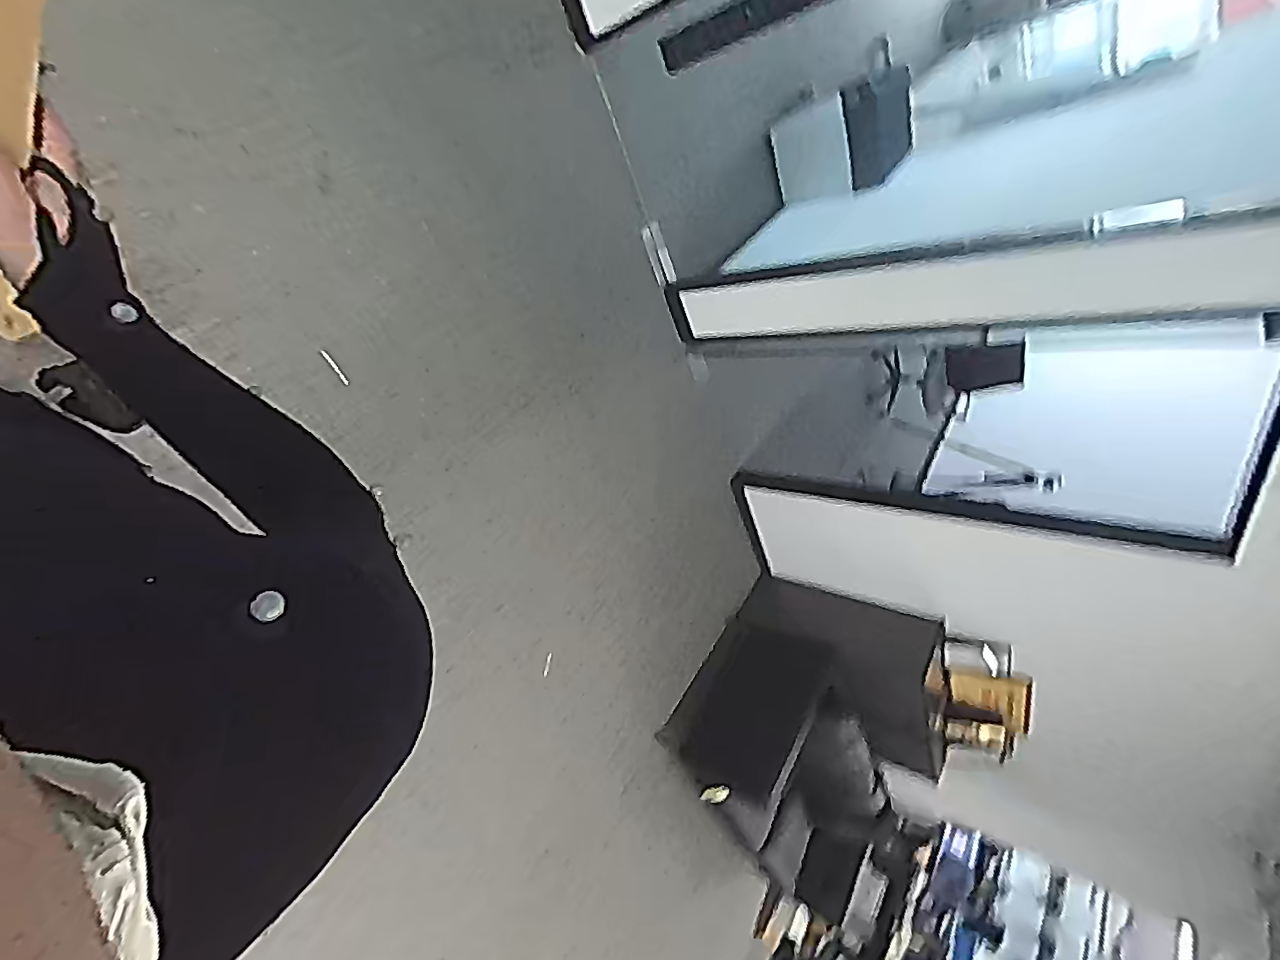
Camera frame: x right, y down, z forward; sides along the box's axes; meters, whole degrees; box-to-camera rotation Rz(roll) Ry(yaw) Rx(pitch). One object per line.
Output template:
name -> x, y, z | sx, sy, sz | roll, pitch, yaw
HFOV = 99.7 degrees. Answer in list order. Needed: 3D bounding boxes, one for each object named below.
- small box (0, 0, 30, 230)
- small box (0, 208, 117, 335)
small box -> -0.572, -0.314, 0.387 | 0.168, 0.176, 0.179 | 5, 82, -50
small box -> -1.161, -0.389, 1.022 | 0.179, 0.176, 0.168 | -48, 130, -32
